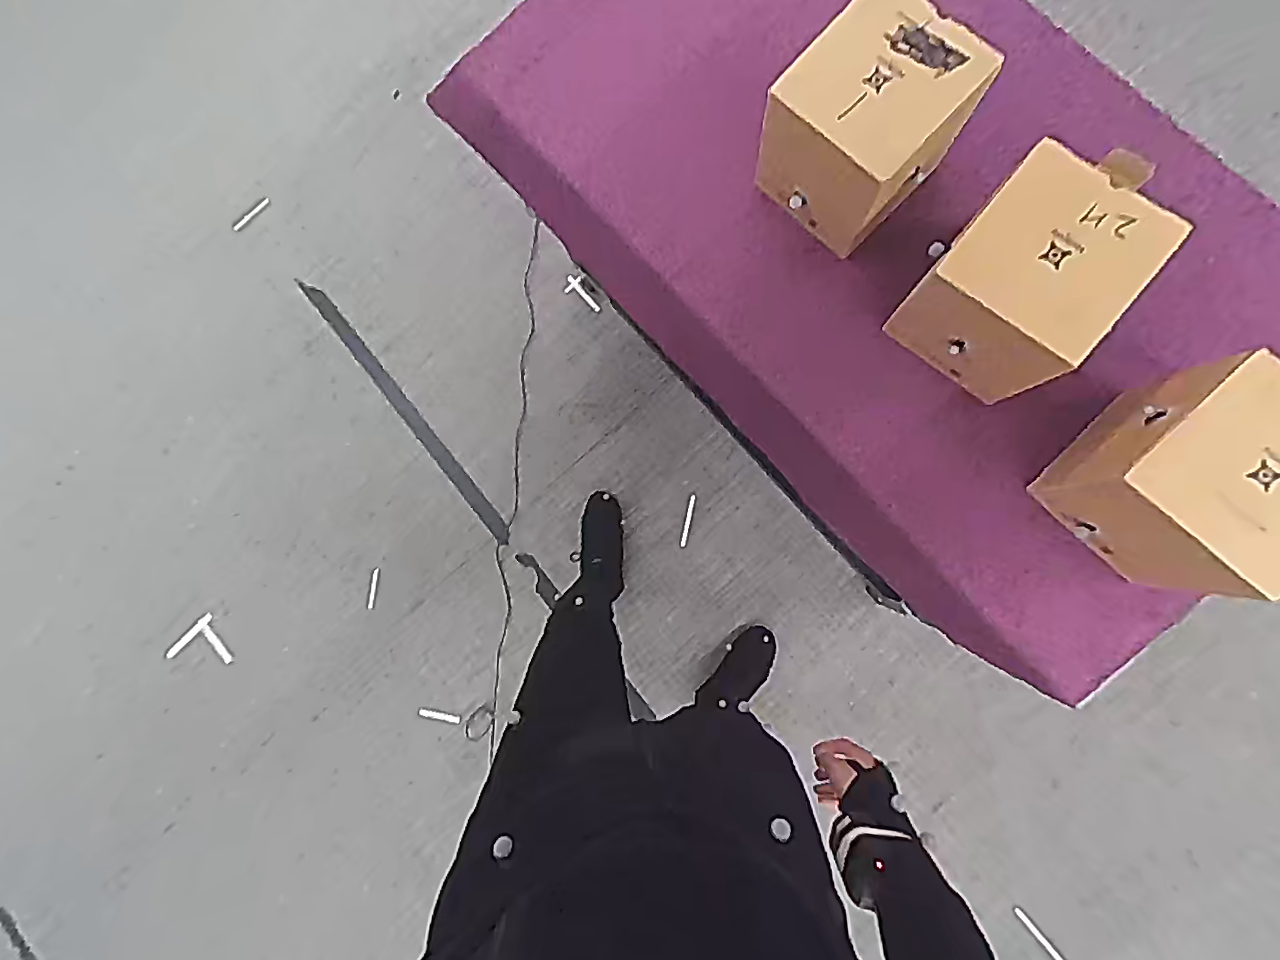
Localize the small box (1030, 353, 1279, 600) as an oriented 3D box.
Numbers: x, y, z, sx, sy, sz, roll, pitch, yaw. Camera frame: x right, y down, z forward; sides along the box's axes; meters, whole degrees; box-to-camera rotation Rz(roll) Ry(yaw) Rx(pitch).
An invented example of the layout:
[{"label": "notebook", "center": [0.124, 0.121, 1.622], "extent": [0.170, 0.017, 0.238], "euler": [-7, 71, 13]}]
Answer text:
[{"label": "small box", "center": [0.580, 0.001, 0.580], "extent": [0.179, 0.176, 0.168], "euler": [-45, 81, 1]}]

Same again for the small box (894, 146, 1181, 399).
[{"label": "small box", "center": [0.421, -0.217, 0.616], "extent": [0.168, 0.176, 0.179], "euler": [40, 90, 8]}]

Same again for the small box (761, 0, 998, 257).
[{"label": "small box", "center": [0.265, -0.415, 0.651], "extent": [0.179, 0.176, 0.168], "euler": [-45, 82, 2]}]
